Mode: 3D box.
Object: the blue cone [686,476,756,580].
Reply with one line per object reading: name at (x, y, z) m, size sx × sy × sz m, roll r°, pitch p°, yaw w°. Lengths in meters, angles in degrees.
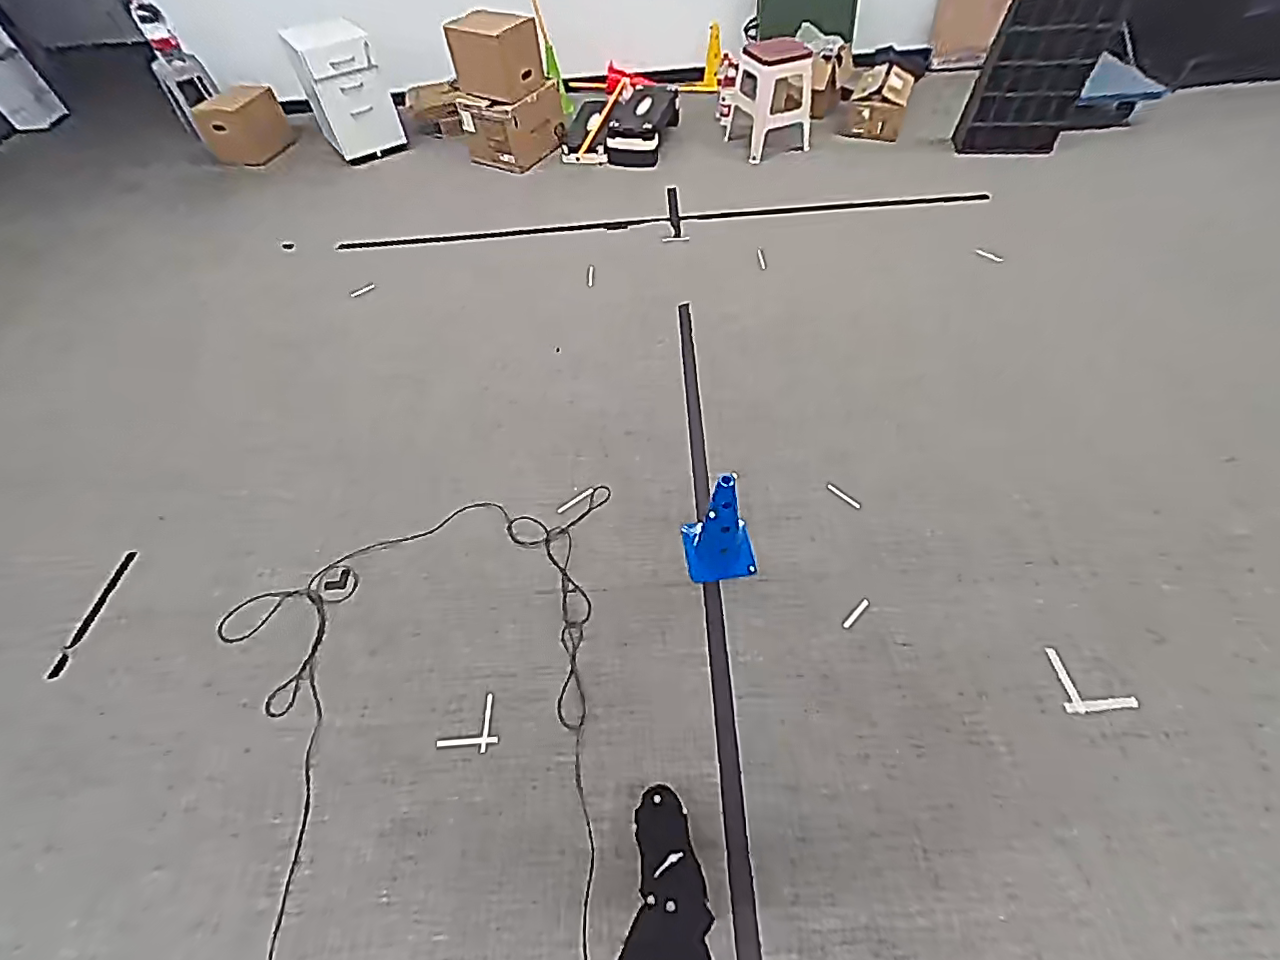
blue cone at (0.232, 0.115, 1.497) m, size 0.192 × 0.380 × 0.193 m, roll -5°, pitch 53°, yaw -1°
